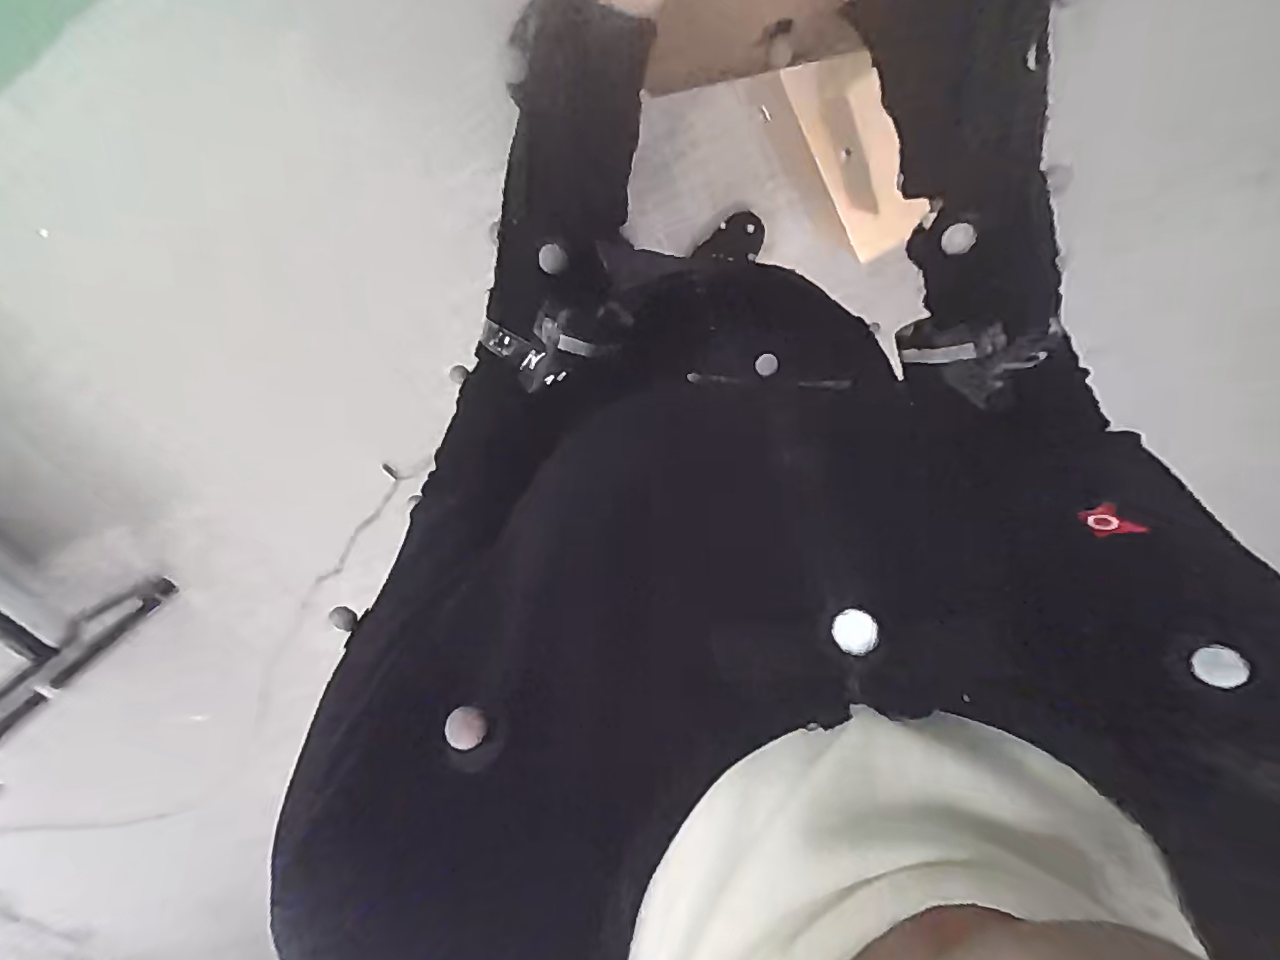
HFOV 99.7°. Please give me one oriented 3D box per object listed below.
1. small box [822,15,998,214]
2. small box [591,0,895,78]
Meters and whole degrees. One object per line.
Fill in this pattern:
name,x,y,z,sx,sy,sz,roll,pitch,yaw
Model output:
small box,0.386,-0.521,0.793,0.168,0.176,0.179,-22,116,16
small box,0.054,-0.328,0.264,0.168,0.176,0.179,-7,113,11
